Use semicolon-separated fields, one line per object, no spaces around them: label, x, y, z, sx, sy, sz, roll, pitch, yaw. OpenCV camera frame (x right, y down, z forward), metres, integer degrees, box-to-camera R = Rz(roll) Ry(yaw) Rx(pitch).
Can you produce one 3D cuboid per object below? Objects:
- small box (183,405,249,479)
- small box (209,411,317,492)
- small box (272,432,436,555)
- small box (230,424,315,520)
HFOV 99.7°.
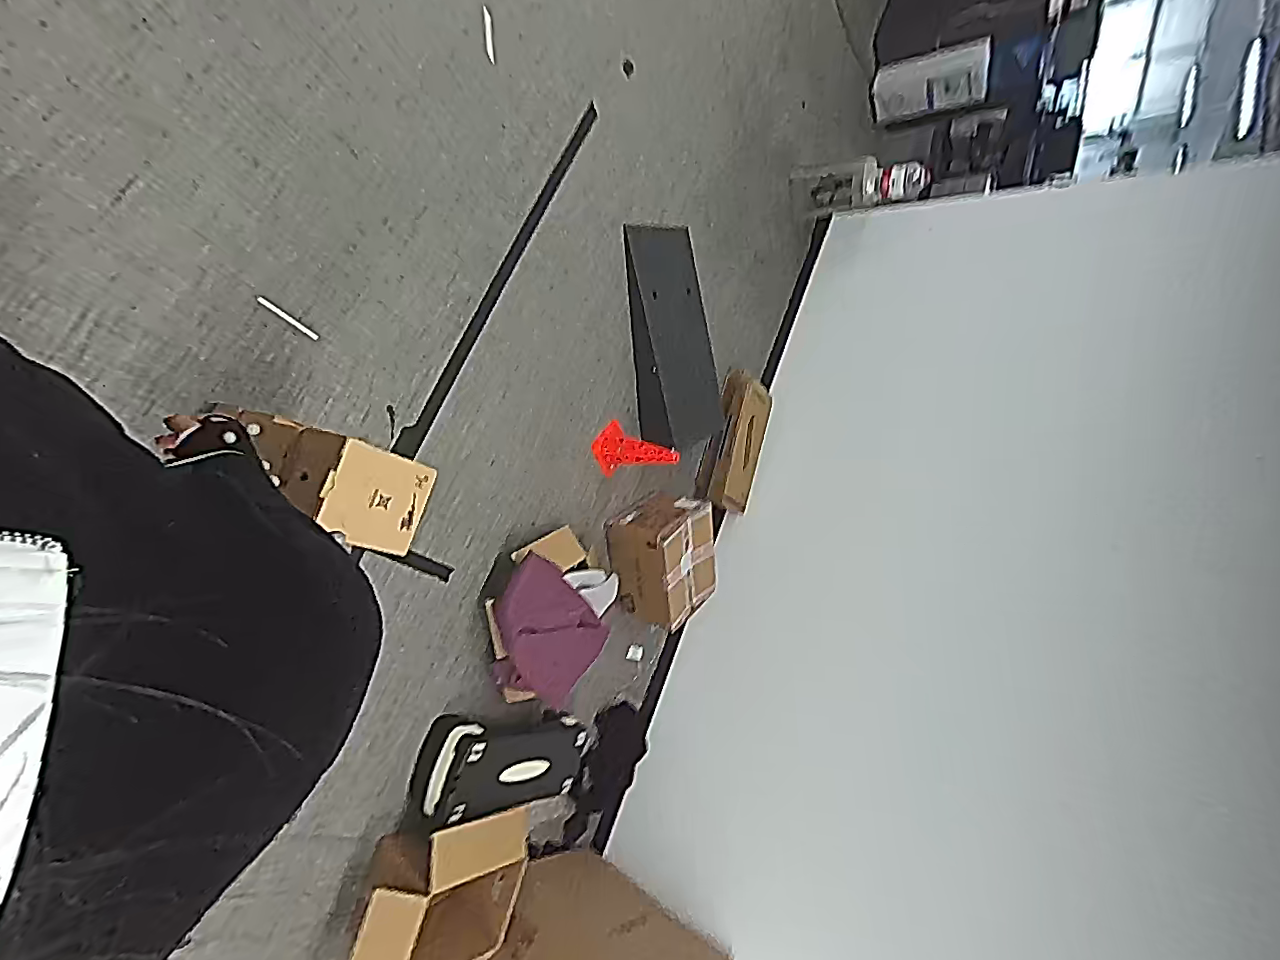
small box;-0.899;-0.066;1.246;0.179;0.176;0.168;31;73;-51
small box;-0.769;-0.034;1.150;0.168;0.176;0.179;35;71;-51
small box;-0.508;0.021;0.959;0.179;0.176;0.168;31;74;-52
small box;-0.643;-0.003;1.049;0.179;0.176;0.168;29;74;-52
